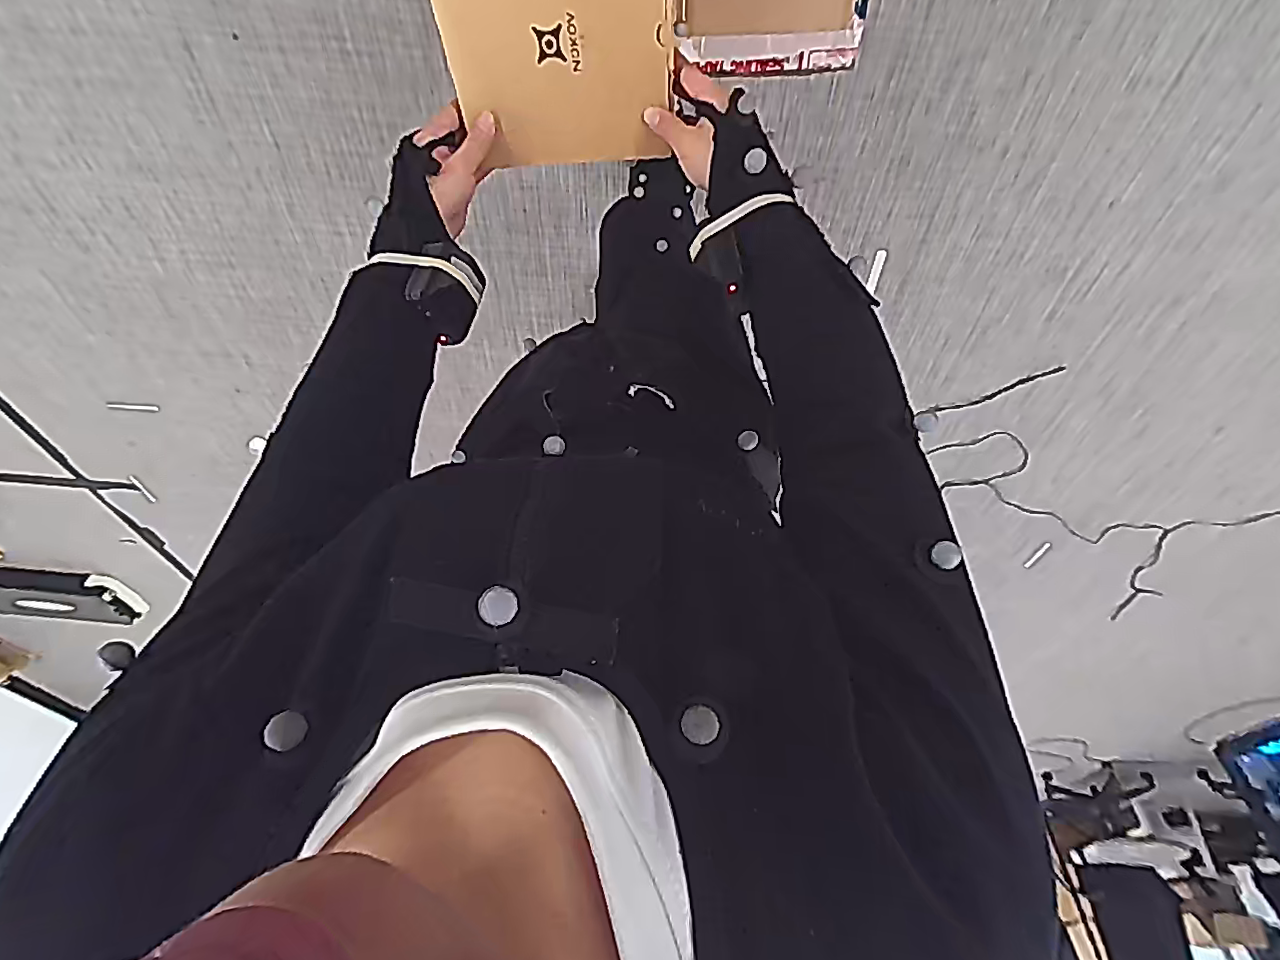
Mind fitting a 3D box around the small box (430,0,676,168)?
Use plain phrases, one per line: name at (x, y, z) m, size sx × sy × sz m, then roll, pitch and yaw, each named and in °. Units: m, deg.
small box at (-0.060, -0.389, 0.463) m, size 0.179 × 0.176 × 0.168 m, roll -1°, pitch 138°, yaw 5°
